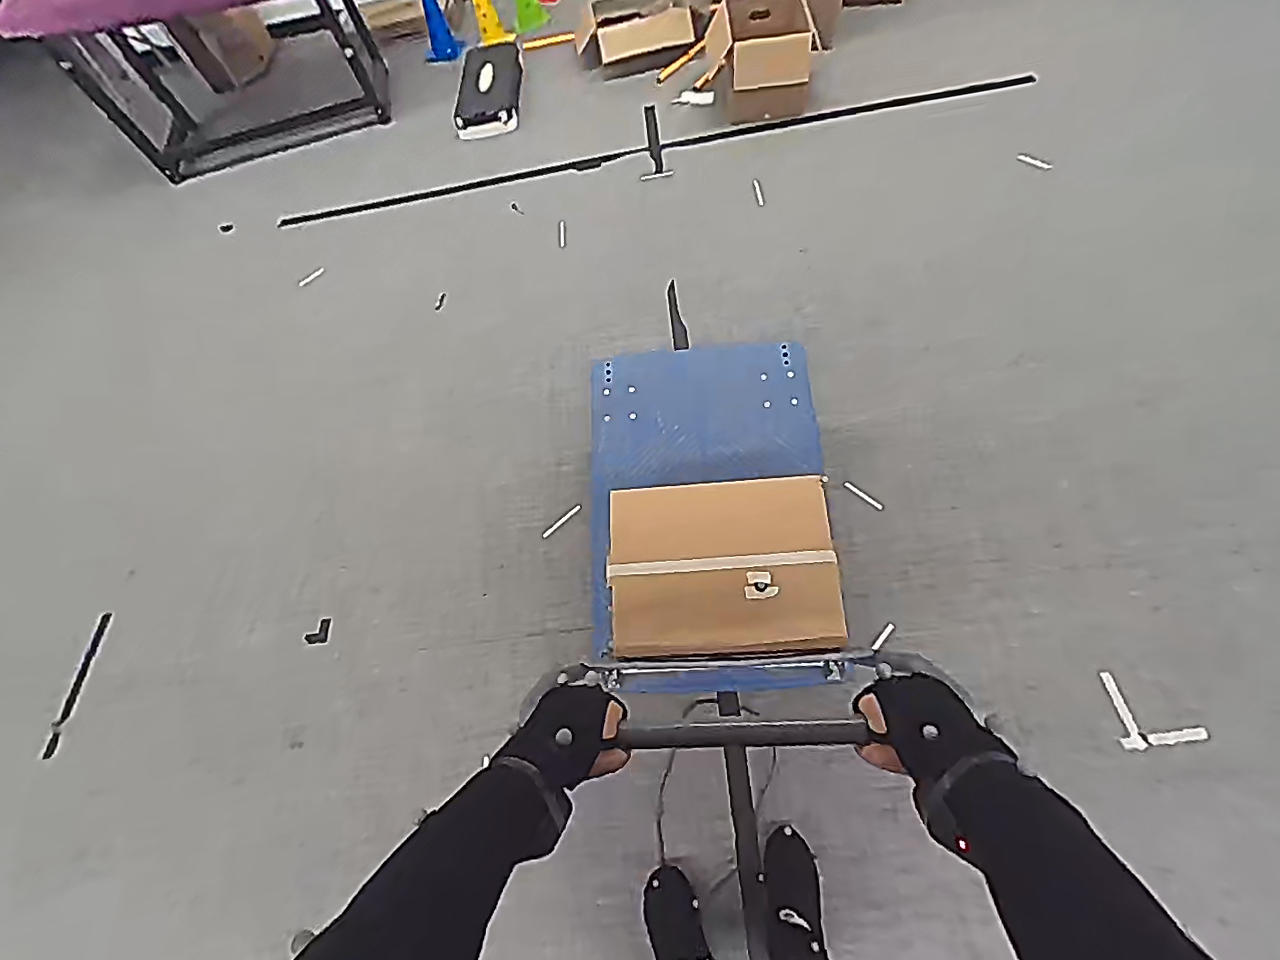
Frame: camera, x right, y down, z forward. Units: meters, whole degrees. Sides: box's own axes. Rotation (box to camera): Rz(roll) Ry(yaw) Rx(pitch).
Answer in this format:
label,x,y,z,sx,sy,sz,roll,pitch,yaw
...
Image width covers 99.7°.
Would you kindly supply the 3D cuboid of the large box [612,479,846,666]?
label,x,y,z,sx,sy,sz,roll,pitch,yaw
large box,0.166,0.212,1.138,0.408,0.320,0.320,-5,70,5
